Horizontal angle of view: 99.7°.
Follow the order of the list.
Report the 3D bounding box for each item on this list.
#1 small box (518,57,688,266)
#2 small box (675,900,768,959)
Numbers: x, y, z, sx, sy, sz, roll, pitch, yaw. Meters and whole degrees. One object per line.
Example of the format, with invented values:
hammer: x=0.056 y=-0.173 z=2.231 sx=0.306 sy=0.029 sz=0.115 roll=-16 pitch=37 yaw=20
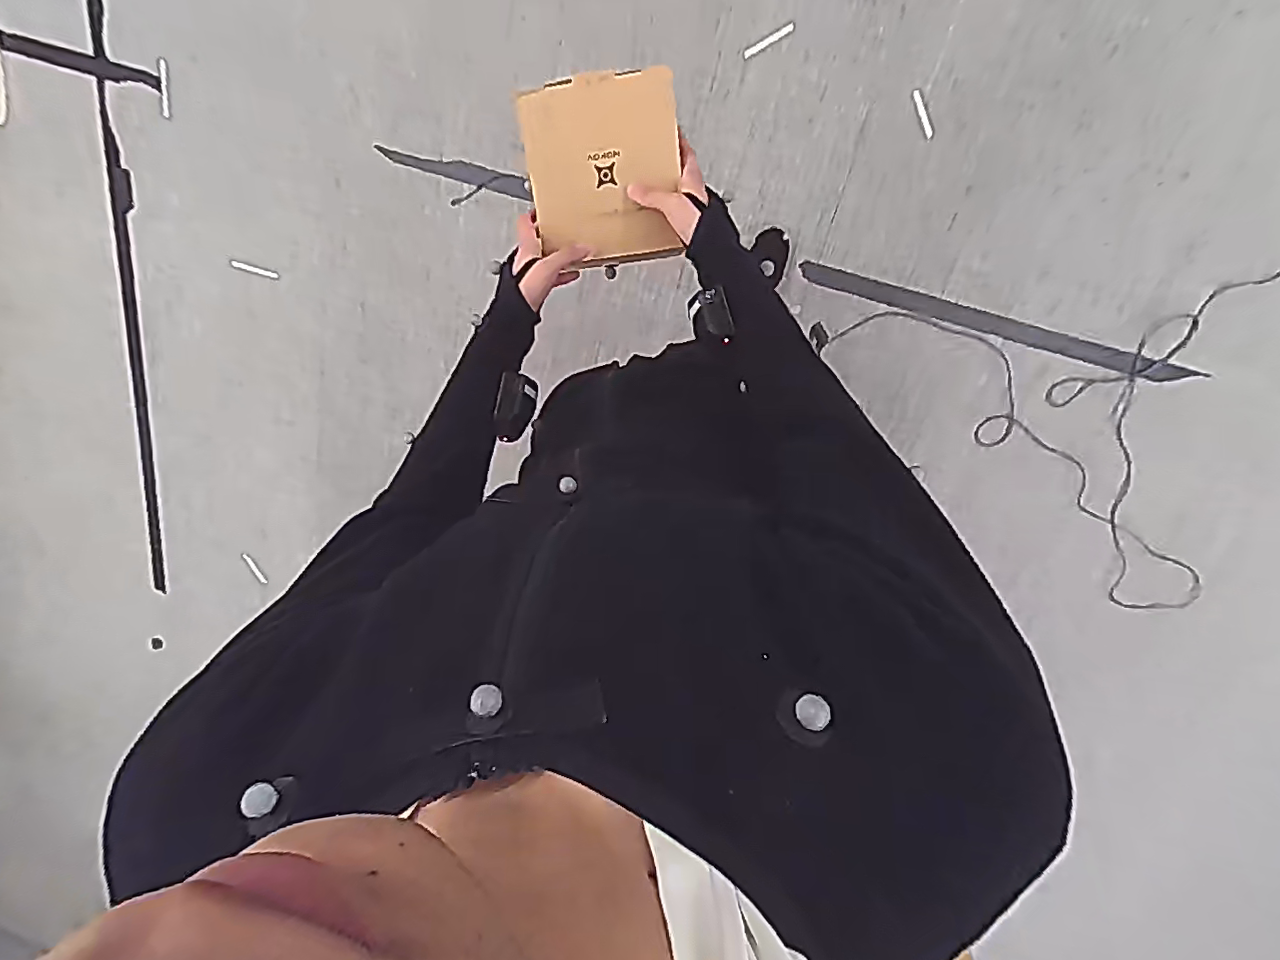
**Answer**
small box: x=-0.035 y=-0.363 z=0.650 sx=0.168 sy=0.176 sz=0.179 roll=-6 pitch=109 yaw=4
small box: x=0.171 y=1.061 z=1.157 sx=0.168 sy=0.176 sz=0.179 roll=19 pitch=112 yaw=3
